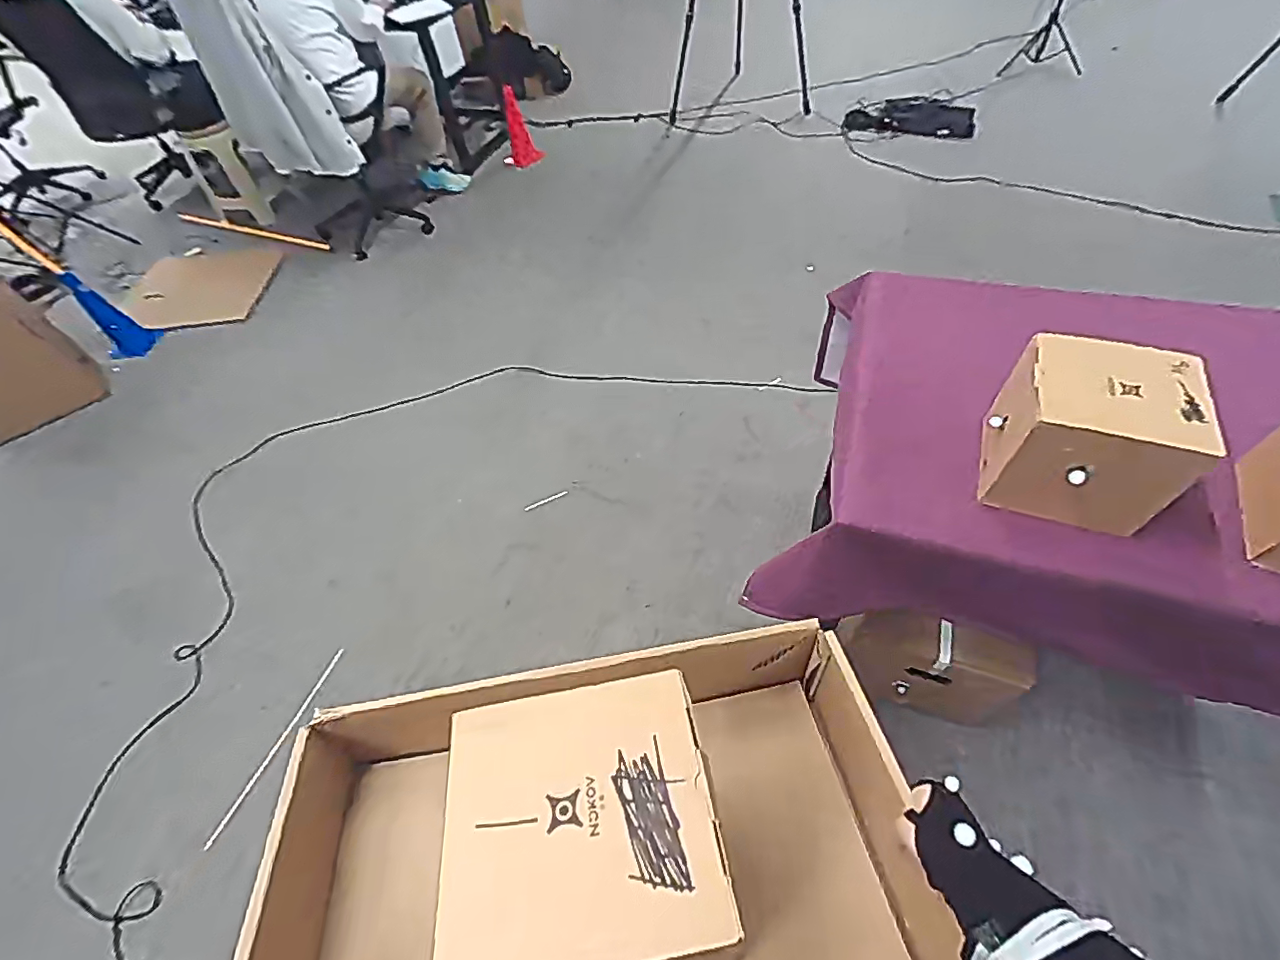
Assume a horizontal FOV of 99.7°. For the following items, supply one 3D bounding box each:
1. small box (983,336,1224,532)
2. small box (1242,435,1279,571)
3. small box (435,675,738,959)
[{"bbox_3d":[0.564,-0.055,0.689,0.179,0.176,0.168,15,58,18],"label":"small box"},{"bbox_3d":[0.841,0.015,0.605,0.168,0.176,0.179,19,59,20],"label":"small box"},{"bbox_3d":[-0.035,0.276,0.412,0.179,0.176,0.168,-10,44,-3],"label":"small box"}]
